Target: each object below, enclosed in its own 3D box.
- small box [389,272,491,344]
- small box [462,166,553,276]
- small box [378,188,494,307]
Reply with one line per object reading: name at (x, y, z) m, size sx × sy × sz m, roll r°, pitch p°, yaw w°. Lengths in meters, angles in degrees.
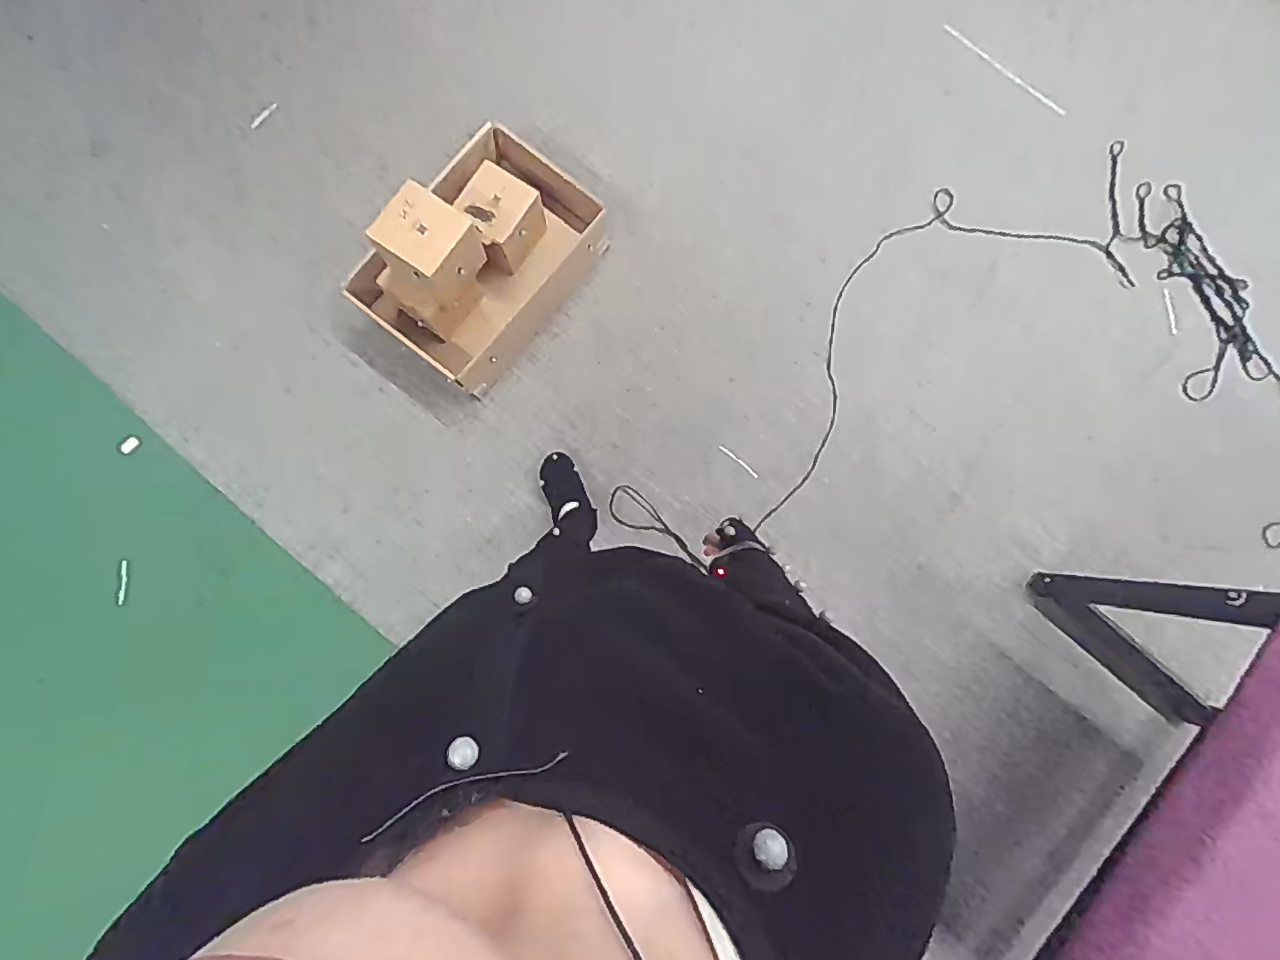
small box at (-0.524, -0.496, 1.451) m, size 0.168 × 0.176 × 0.179 m, roll 35°, pitch 82°, yaw 1°
small box at (-0.353, -0.696, 1.476) m, size 0.168 × 0.176 × 0.179 m, roll 32°, pitch 85°, yaw 2°
small box at (-0.475, -0.541, 1.294) m, size 0.179 × 0.176 × 0.168 m, roll 34°, pitch 82°, yaw 1°
